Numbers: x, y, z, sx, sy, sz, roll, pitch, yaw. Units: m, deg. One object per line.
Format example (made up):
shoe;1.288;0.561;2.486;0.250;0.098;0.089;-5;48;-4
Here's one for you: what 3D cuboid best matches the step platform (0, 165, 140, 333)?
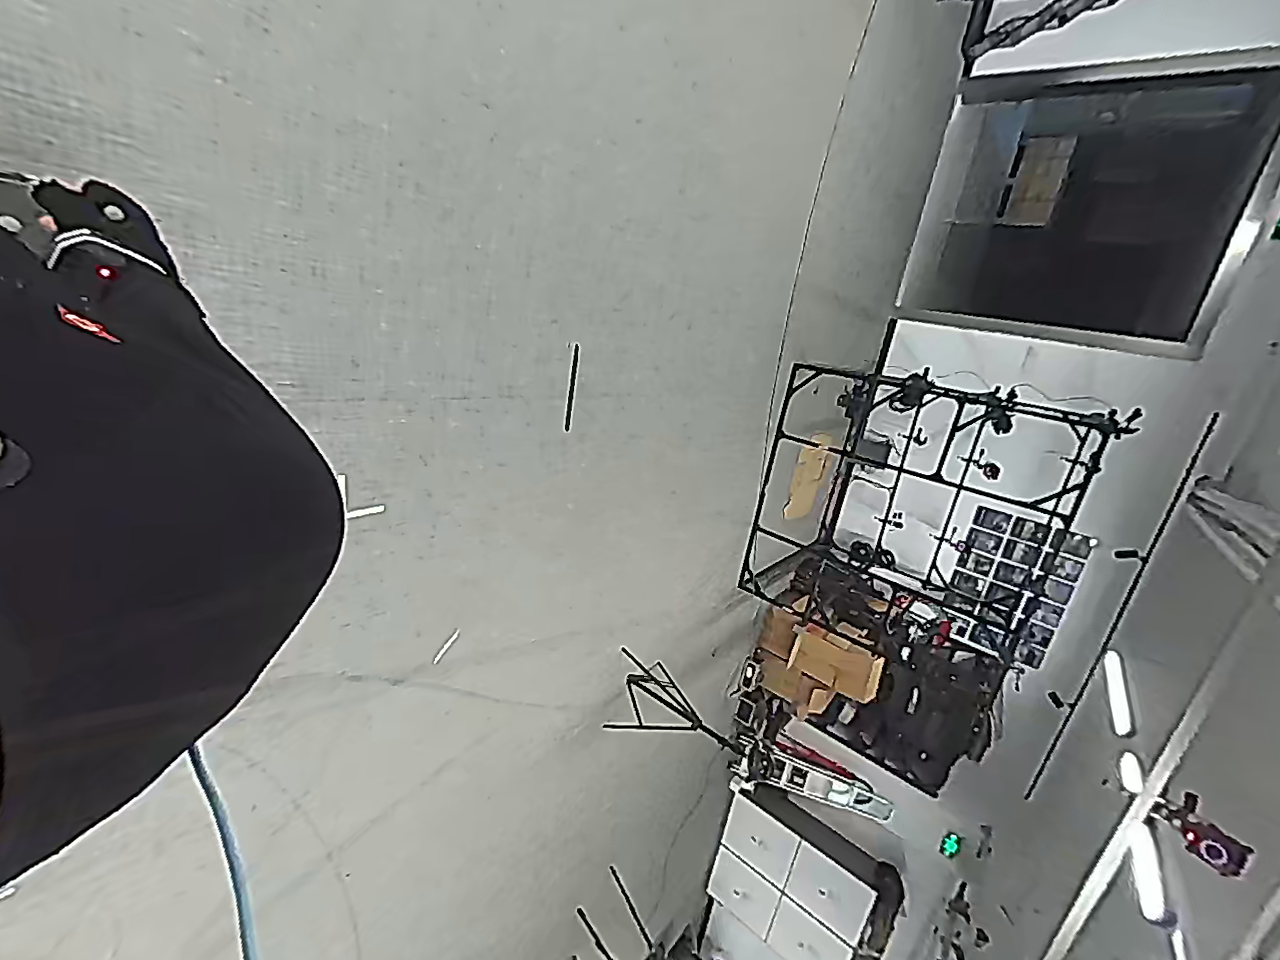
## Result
step platform;-1.277;-0.408;0.876;0.684;0.204;0.286;-15;120;-52
